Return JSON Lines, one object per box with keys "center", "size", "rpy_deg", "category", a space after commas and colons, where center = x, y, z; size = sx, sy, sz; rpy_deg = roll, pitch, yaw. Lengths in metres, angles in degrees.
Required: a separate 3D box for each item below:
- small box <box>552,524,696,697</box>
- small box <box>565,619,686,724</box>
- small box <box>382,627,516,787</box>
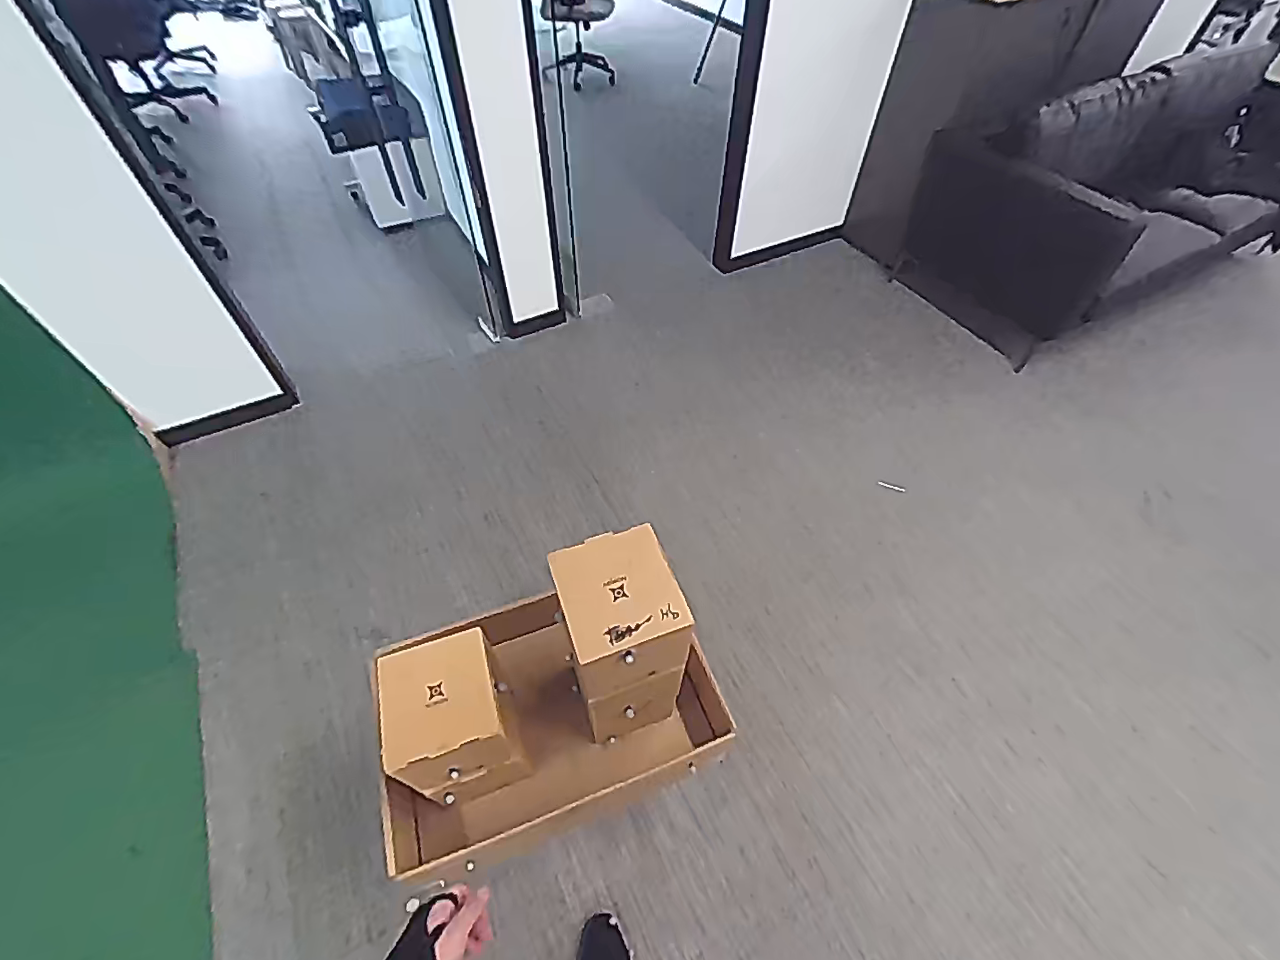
{"center": [-0.029, 0.200, 0.824], "size": [0.168, 0.176, 0.179], "rpy_deg": [-16, 54, -12], "category": "small box"}
{"center": [-0.033, 0.301, 0.954], "size": [0.168, 0.176, 0.179], "rpy_deg": [-16, 55, -12], "category": "small box"}
{"center": [-0.310, 0.375, 0.891], "size": [0.168, 0.176, 0.179], "rpy_deg": [-15, 54, -13], "category": "small box"}
